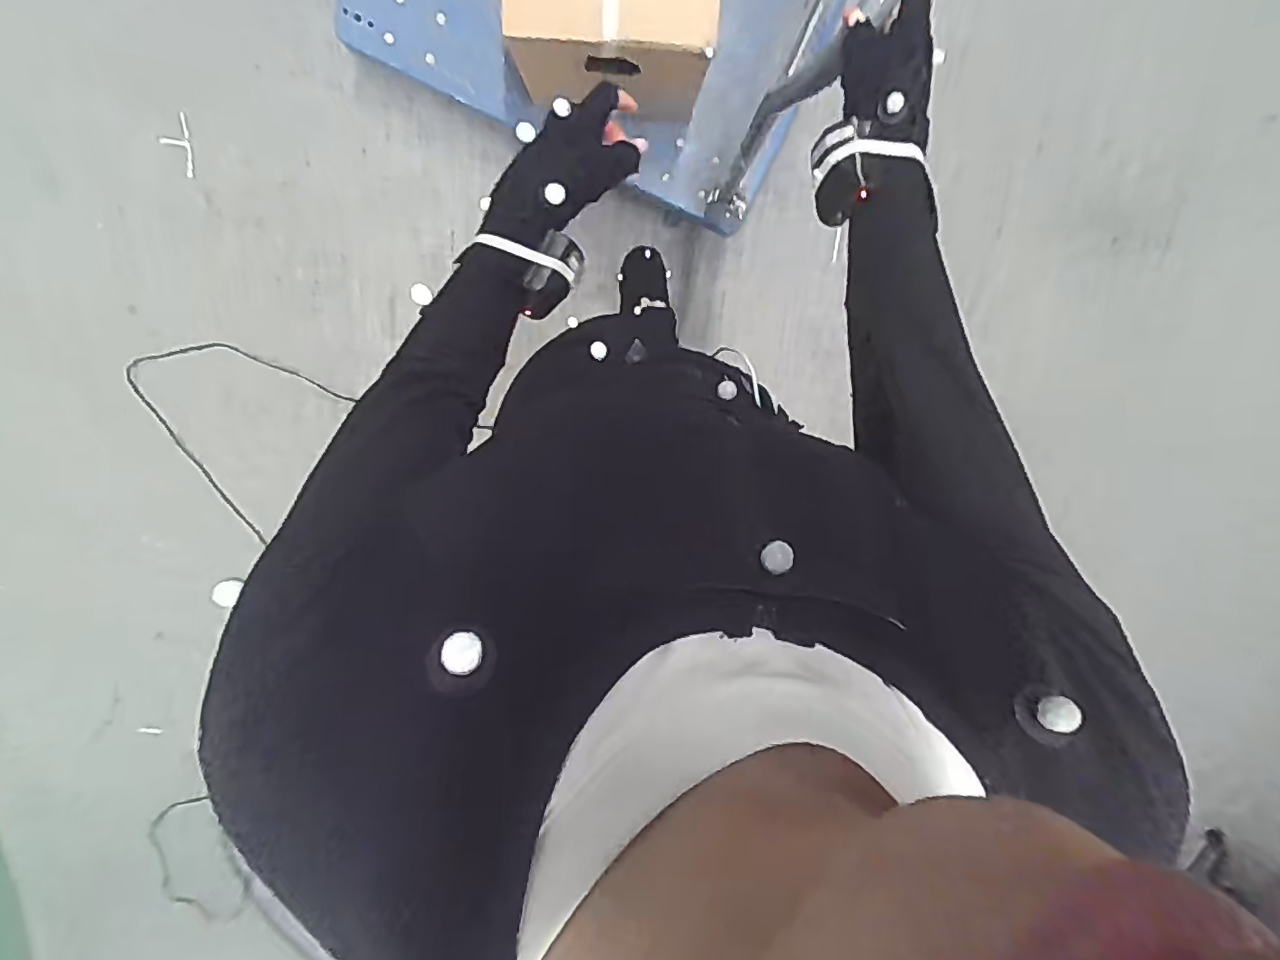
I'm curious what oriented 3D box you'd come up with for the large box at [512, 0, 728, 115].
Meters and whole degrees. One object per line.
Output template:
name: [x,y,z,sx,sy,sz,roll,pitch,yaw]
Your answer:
large box: [-0.027,-0.871,0.862,0.320,0.320,0.408,3,109,-2]
